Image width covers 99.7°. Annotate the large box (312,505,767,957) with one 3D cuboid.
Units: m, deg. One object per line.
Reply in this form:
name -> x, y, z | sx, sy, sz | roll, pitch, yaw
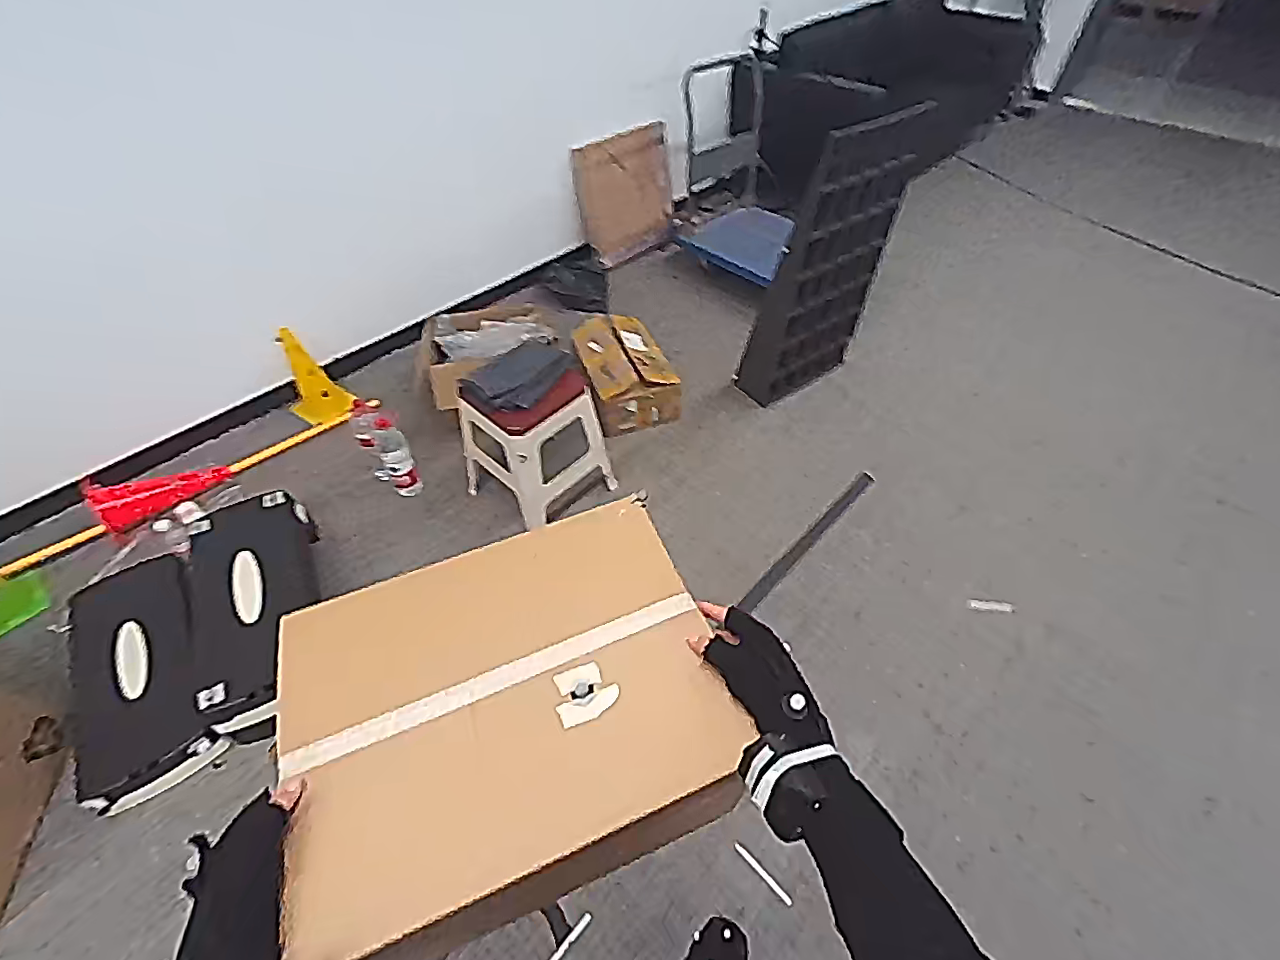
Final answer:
large box -> -0.116, 0.293, 0.658 | 0.408, 0.320, 0.320 | -17, 53, -13
